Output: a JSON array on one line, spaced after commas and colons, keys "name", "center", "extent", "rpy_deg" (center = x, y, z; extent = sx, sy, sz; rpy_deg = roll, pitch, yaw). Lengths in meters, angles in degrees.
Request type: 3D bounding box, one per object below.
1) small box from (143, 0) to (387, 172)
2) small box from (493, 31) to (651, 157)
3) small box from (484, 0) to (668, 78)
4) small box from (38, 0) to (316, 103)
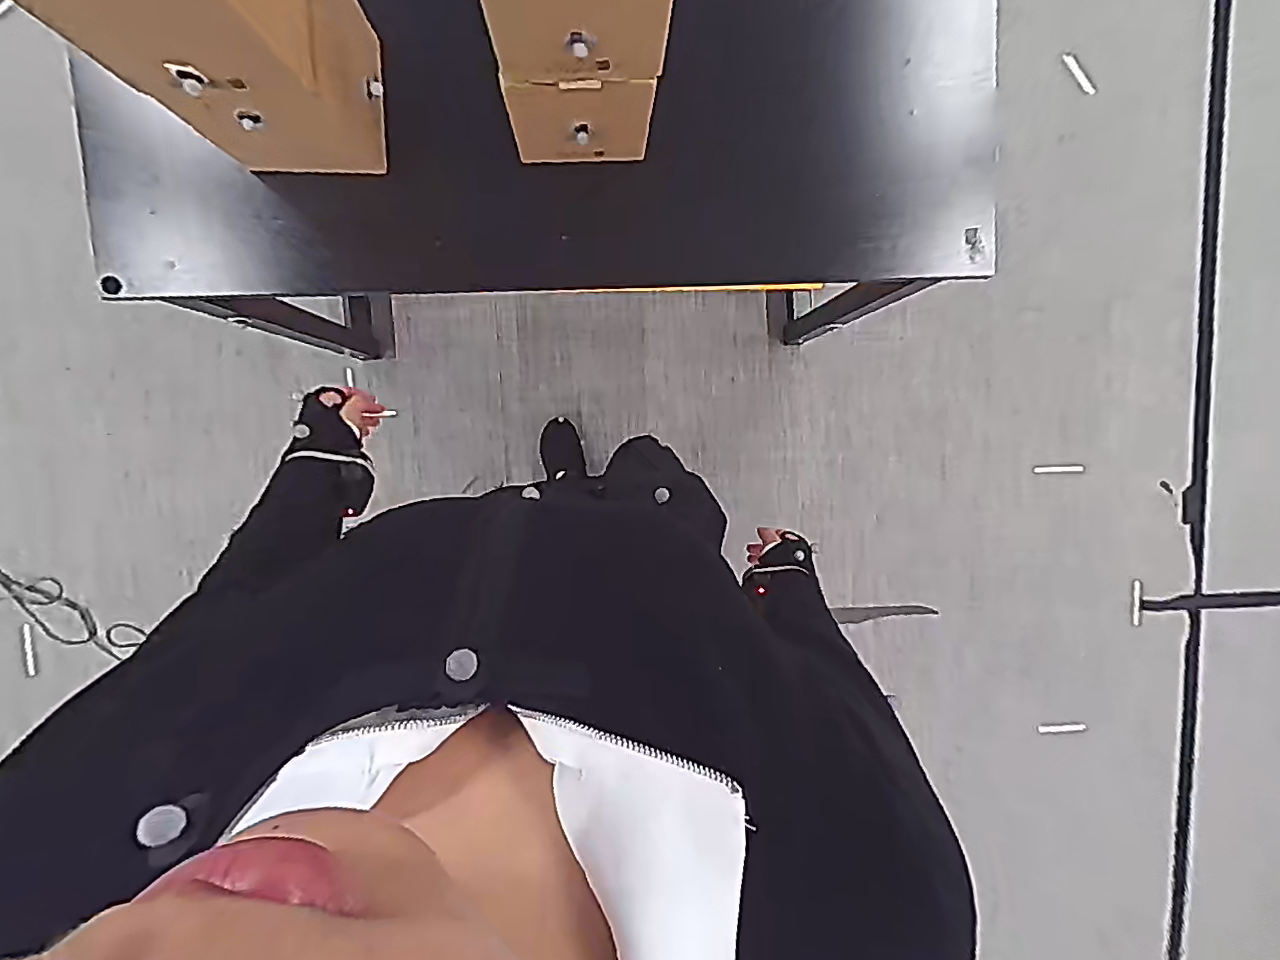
[{"name": "small box", "center": [-0.412, -0.474, 0.615], "extent": [0.179, 0.176, 0.168], "rpy_deg": [-2, 95, -5]}, {"name": "small box", "center": [-0.077, -0.507, 0.639], "extent": [0.168, 0.176, 0.179], "rpy_deg": [-4, 95, -4]}, {"name": "small box", "center": [-0.062, -0.499, 0.474], "extent": [0.168, 0.176, 0.179], "rpy_deg": [-4, 95, -3]}, {"name": "small box", "center": [-0.403, -0.459, 0.454], "extent": [0.168, 0.176, 0.179], "rpy_deg": [-2, 96, -3]}]
